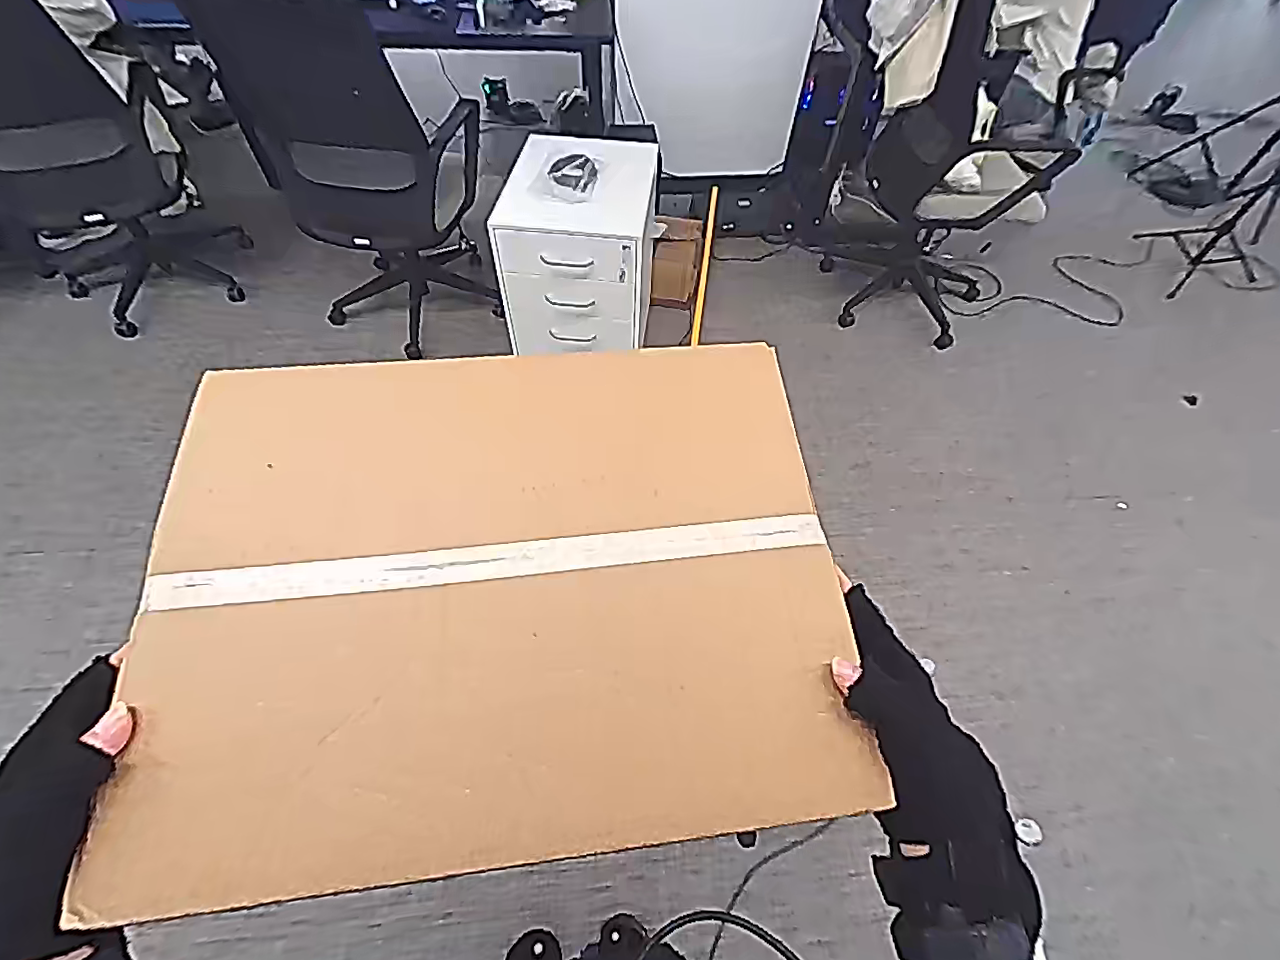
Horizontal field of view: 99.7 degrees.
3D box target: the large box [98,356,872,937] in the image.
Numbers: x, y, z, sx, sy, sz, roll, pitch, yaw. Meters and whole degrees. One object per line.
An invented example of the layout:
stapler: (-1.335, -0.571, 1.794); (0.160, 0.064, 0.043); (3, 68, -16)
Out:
large box: (-0.091, 0.121, 0.473); (0.408, 0.320, 0.320); (-5, 65, -6)
